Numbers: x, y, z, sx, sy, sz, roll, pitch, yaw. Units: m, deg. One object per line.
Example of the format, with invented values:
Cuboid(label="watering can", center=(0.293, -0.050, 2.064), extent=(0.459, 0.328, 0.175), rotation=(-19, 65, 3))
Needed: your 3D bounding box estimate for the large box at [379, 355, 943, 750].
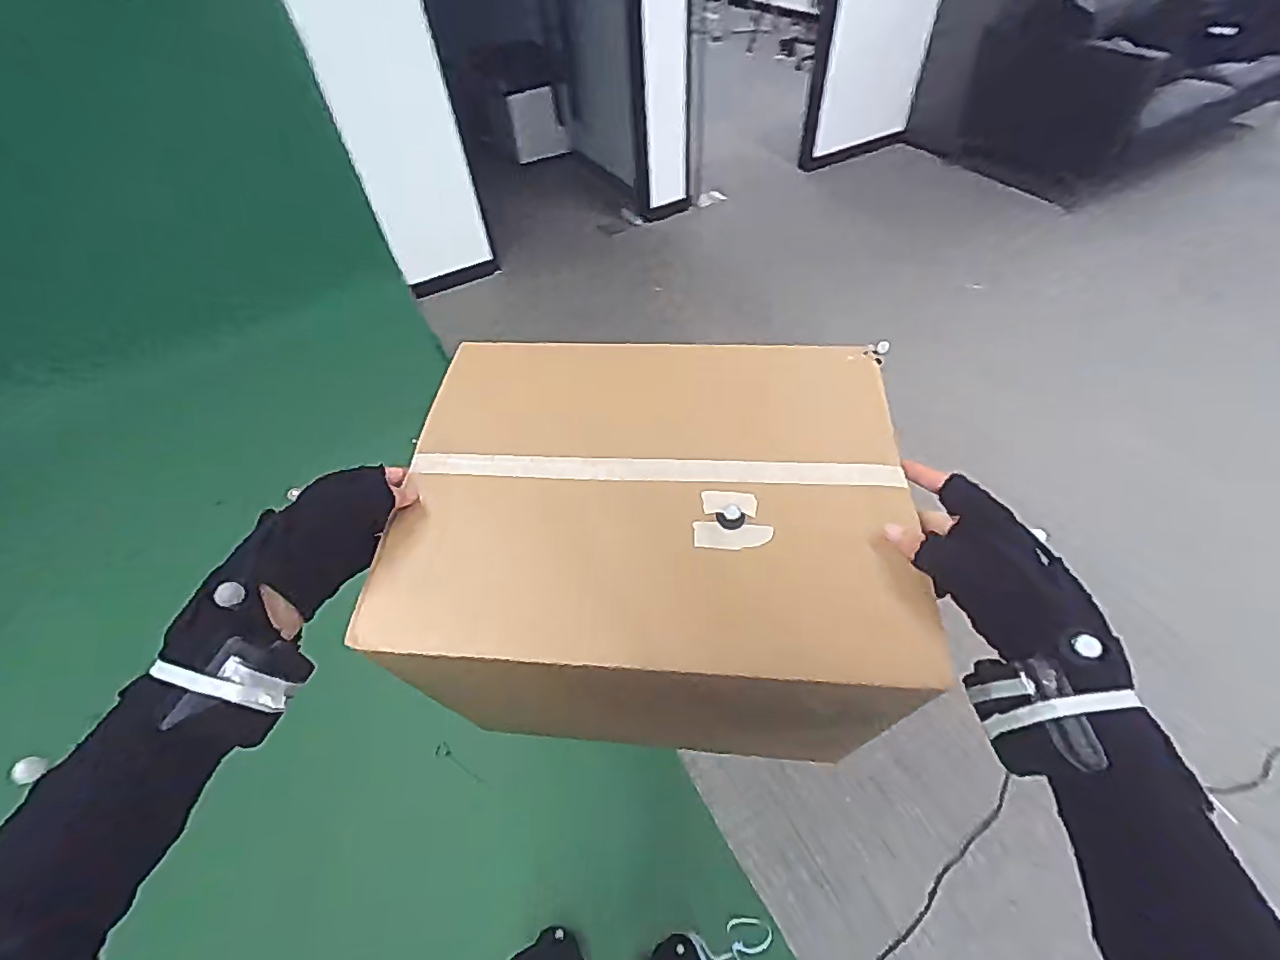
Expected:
Cuboid(label="large box", center=(0.025, 0.085, 0.579), extent=(0.408, 0.320, 0.320), rotation=(2, 56, 6))
